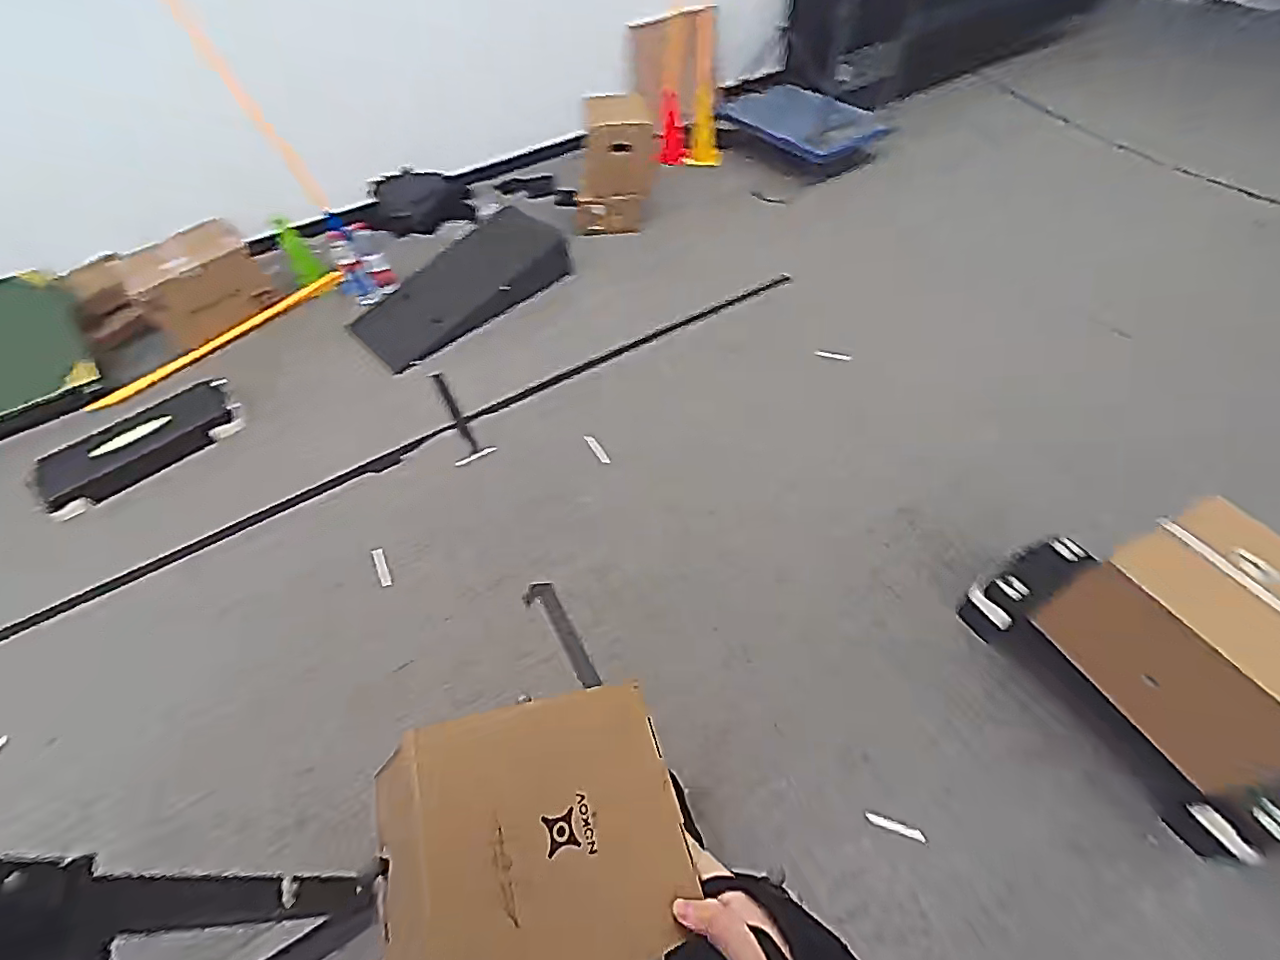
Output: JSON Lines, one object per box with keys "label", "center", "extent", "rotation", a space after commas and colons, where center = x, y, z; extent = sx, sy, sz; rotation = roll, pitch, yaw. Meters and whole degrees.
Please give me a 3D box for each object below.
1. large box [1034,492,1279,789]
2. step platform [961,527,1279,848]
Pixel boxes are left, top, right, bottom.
{"label": "large box", "center": [1.119, 0.308, 1.059], "extent": [0.320, 0.320, 0.408], "rotation": [-24, 53, -12]}
{"label": "step platform", "center": [1.124, 0.437, 1.261], "extent": [0.286, 0.204, 0.684], "rotation": [-23, 53, -11]}
